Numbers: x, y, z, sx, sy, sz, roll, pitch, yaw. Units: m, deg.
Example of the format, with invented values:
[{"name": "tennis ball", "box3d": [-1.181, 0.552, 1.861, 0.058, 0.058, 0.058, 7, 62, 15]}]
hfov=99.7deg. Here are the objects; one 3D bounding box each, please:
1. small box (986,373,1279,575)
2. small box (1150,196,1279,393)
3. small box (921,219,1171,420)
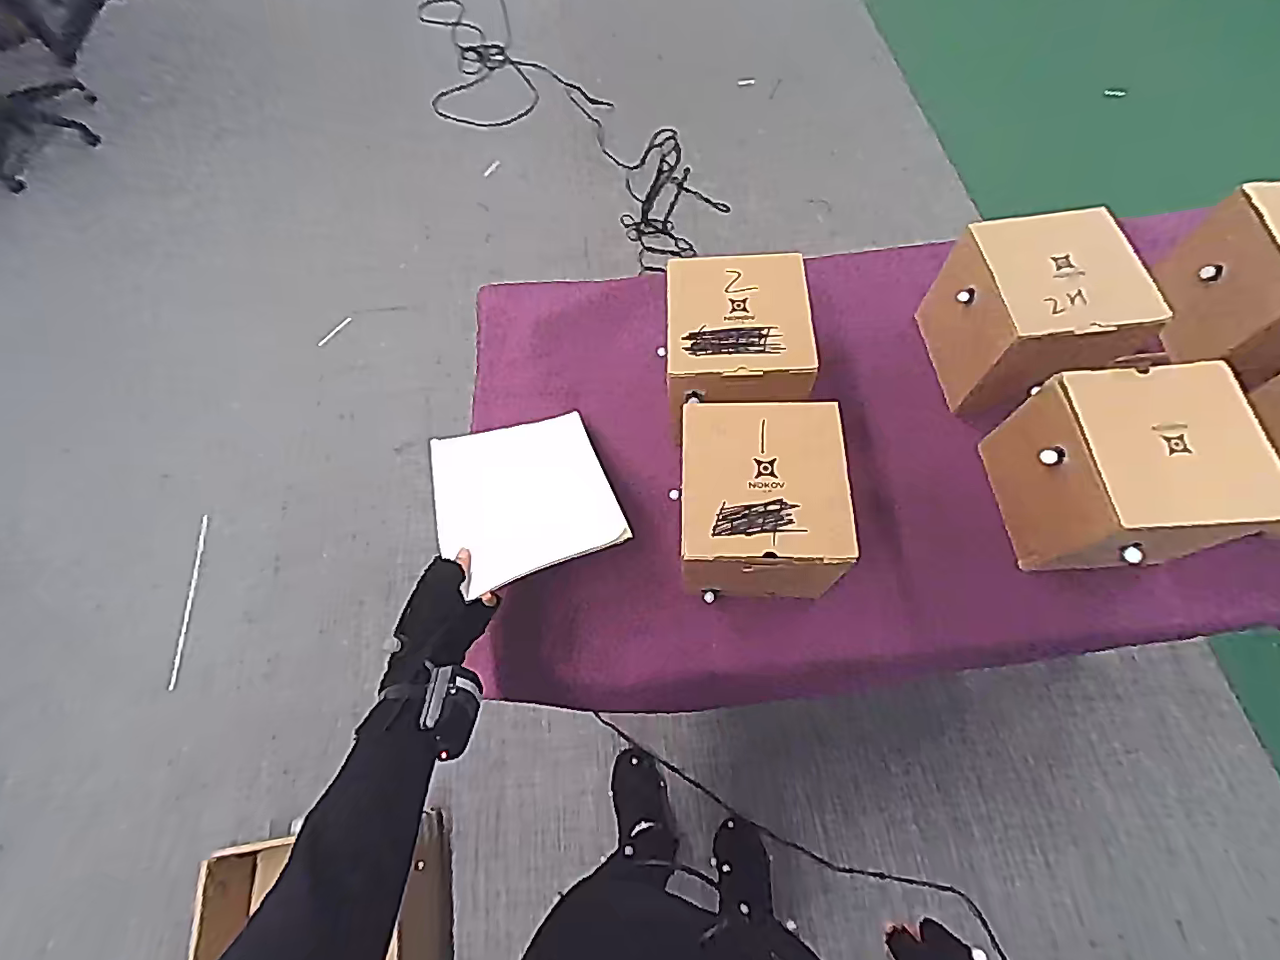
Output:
[{"name": "small box", "box3d": [0.527, 0.005, 0.600, 0.168, 0.176, 0.179, -3, 67, 3]}, {"name": "small box", "box3d": [0.802, -0.228, 0.681, 0.168, 0.176, 0.179, -1, 66, 4]}, {"name": "small box", "box3d": [0.490, -0.197, 0.691, 0.168, 0.176, 0.179, -5, 67, 2]}]
